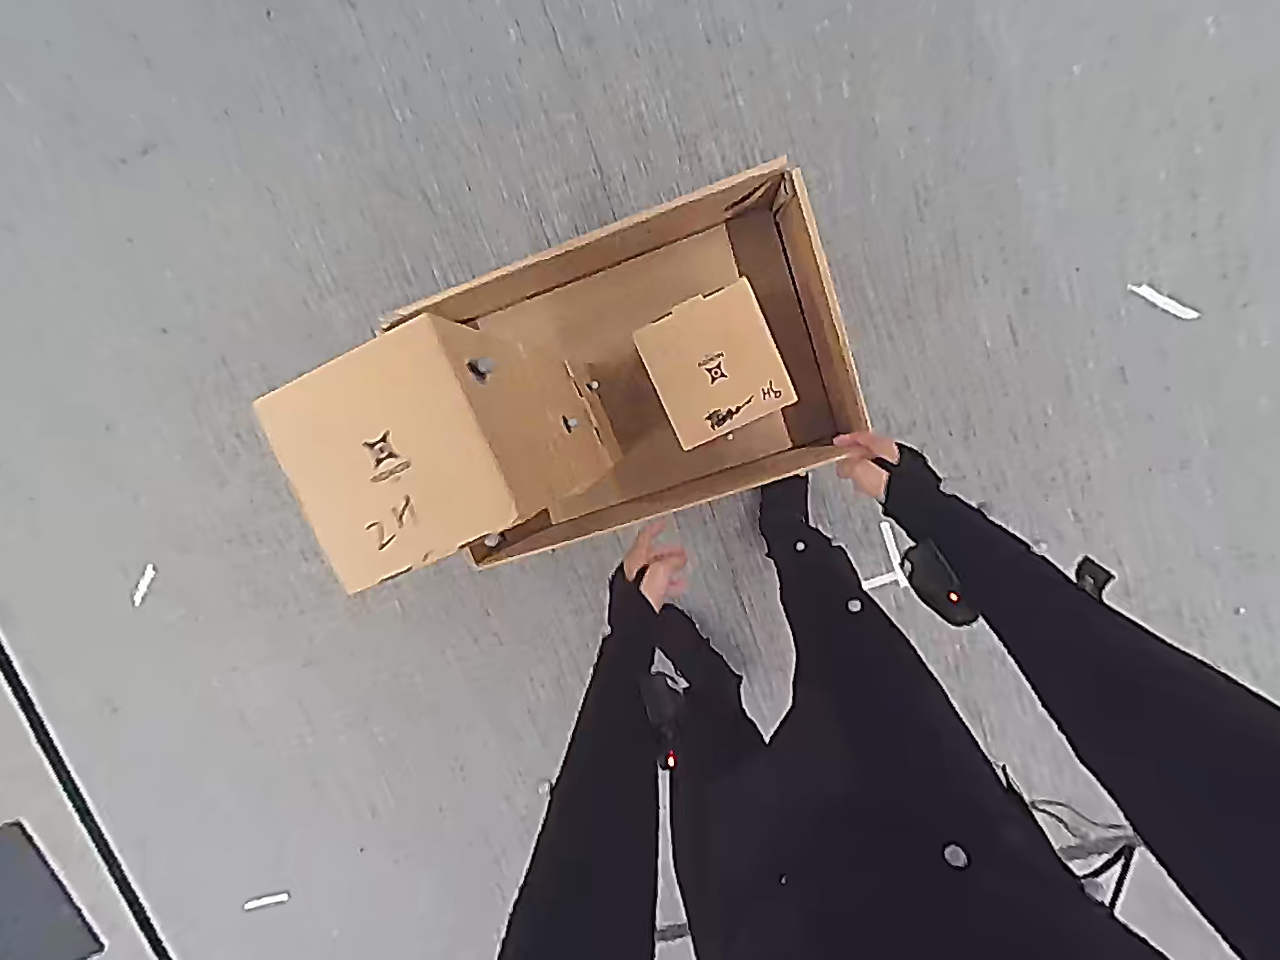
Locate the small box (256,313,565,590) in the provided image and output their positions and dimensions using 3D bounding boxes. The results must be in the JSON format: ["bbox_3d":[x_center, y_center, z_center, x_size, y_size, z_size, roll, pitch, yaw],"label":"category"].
[{"bbox_3d":[-0.190,-0.028,0.502,0.168,0.176,0.179,-23,95,9],"label":"small box"}]

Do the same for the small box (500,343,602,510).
[{"bbox_3d":[-0.160,-0.050,0.663,0.168,0.176,0.179,-22,95,8],"label":"small box"}]
